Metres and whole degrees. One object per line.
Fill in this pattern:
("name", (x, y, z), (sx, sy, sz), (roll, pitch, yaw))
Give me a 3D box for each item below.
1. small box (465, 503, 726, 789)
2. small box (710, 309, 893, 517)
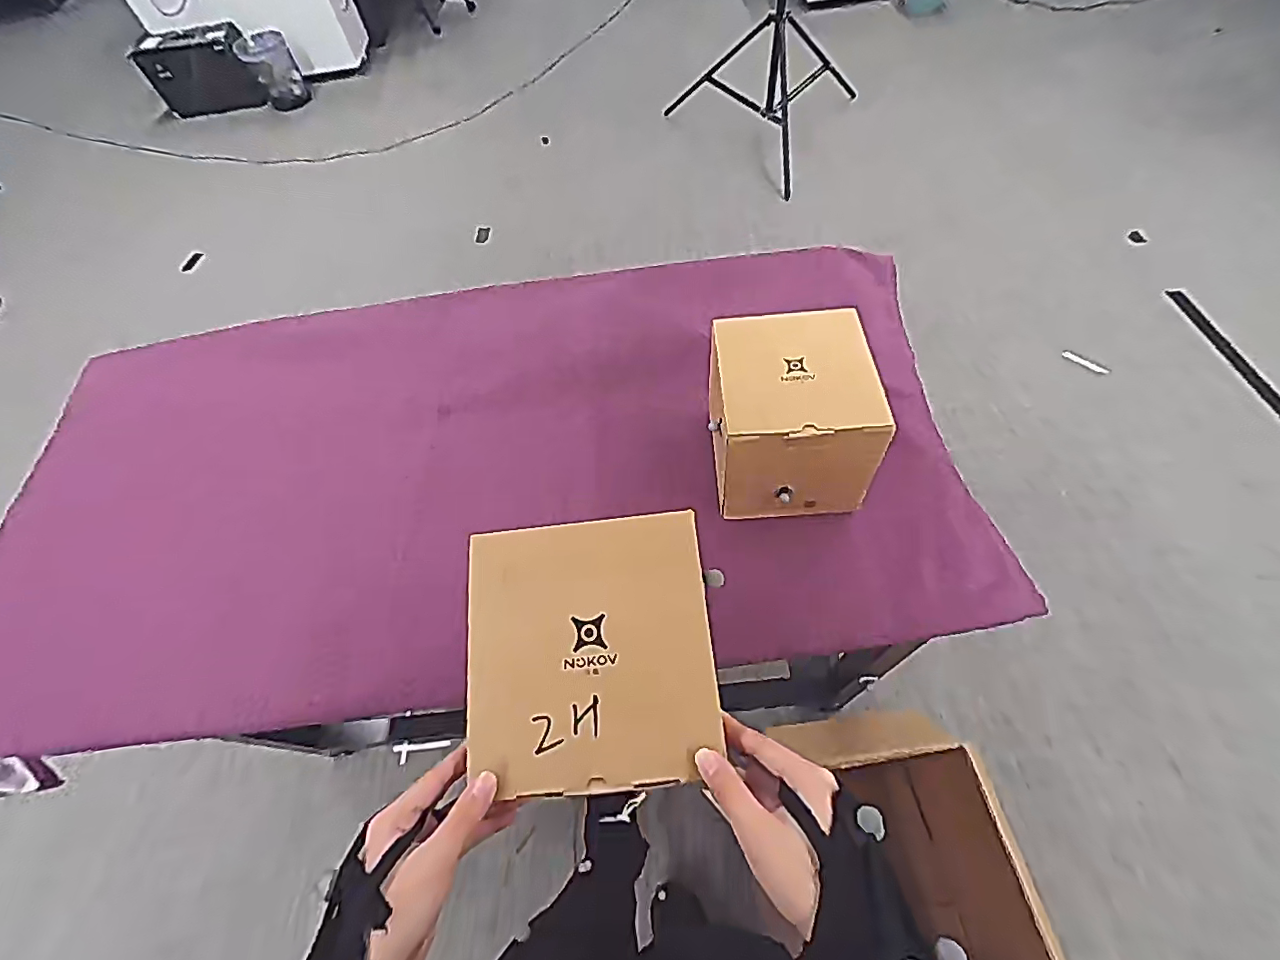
("small box", (-0.029, 0.134, 0.439), (0.168, 0.176, 0.179), (-7, 68, 3))
("small box", (0.173, -0.075, 0.645), (0.168, 0.176, 0.179), (-5, 57, 4))
